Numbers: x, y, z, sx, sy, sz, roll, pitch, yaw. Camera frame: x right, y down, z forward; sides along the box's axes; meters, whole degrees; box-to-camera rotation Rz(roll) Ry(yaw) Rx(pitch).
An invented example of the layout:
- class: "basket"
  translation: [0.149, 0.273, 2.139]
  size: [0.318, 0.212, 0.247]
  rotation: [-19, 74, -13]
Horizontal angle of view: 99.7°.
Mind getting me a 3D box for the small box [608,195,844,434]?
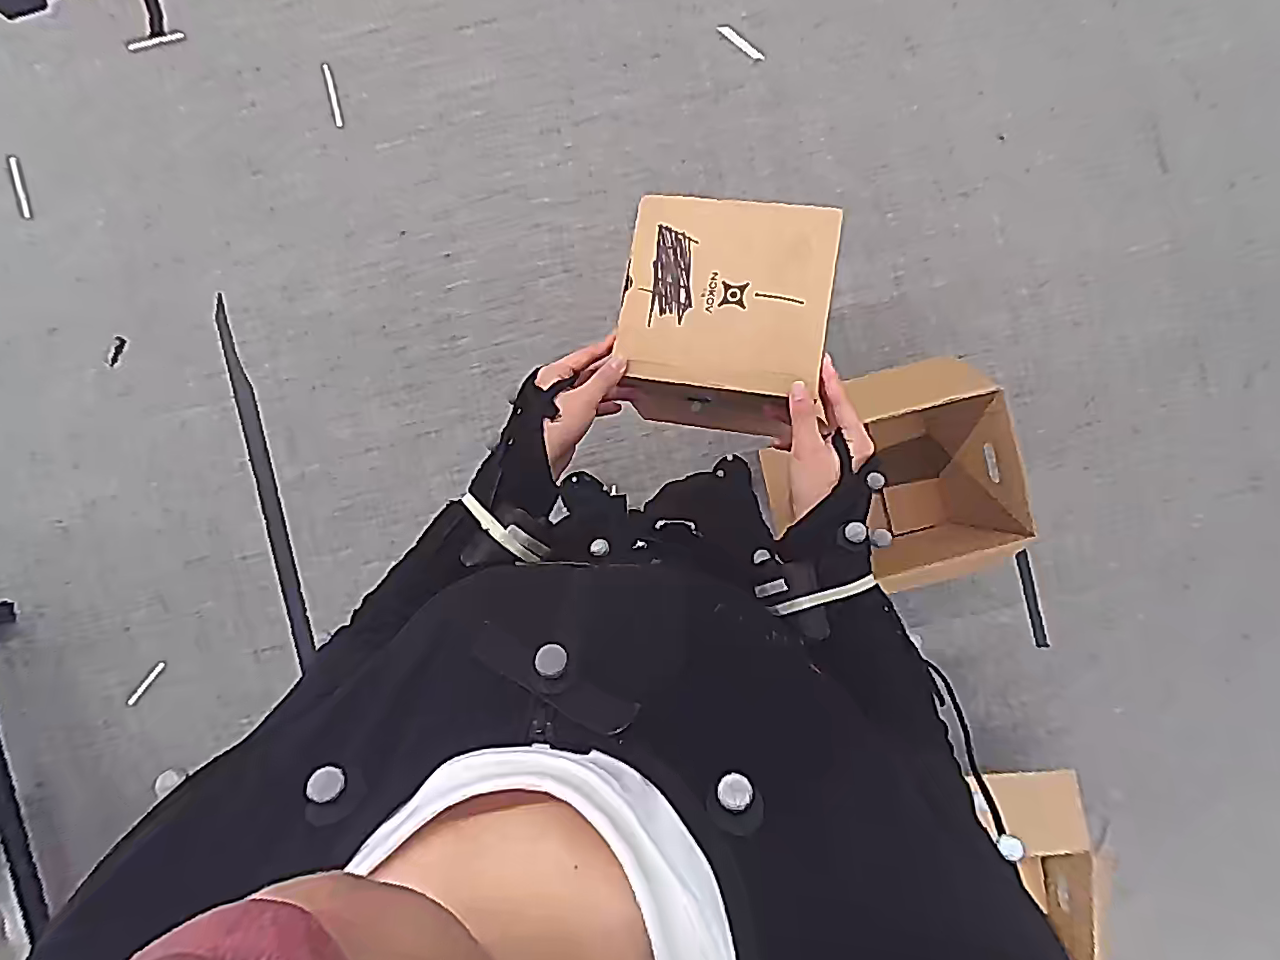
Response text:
- class: "small box"
  translation: [0.083, -0.148, 0.529]
  size: [0.179, 0.176, 0.168]
  rotation: [9, 86, 10]
